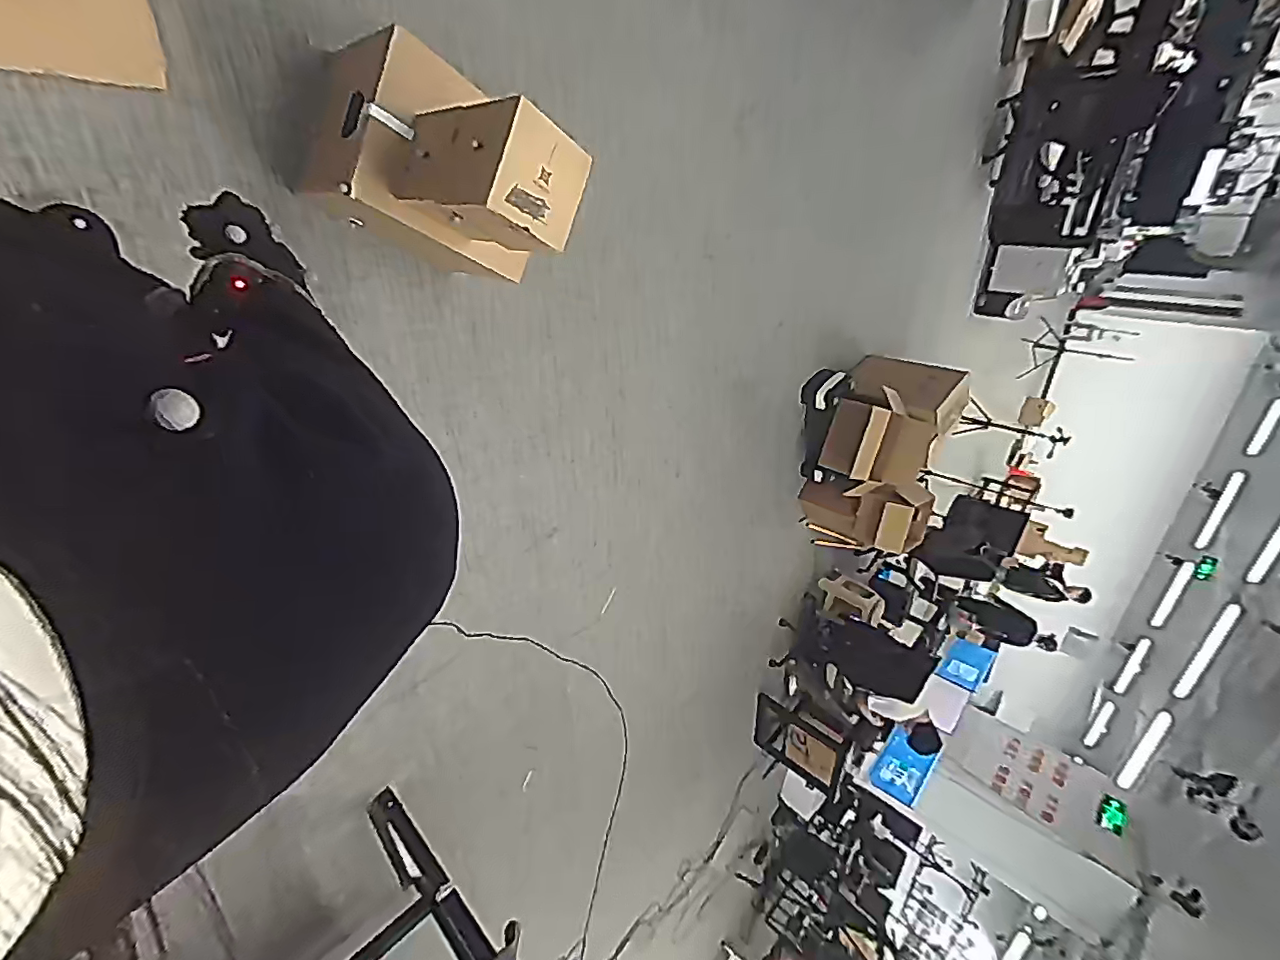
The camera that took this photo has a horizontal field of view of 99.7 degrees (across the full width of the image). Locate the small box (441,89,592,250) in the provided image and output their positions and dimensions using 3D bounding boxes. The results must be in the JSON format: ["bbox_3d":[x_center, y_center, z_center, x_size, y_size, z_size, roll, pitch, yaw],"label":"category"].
[{"bbox_3d":[-0.217,-0.521,0.931,0.168,0.176,0.179,13,98,-51],"label":"small box"}]

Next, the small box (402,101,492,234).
[{"bbox_3d":[-0.330,-0.583,1.039,0.179,0.176,0.168,4,104,-51],"label":"small box"}]
